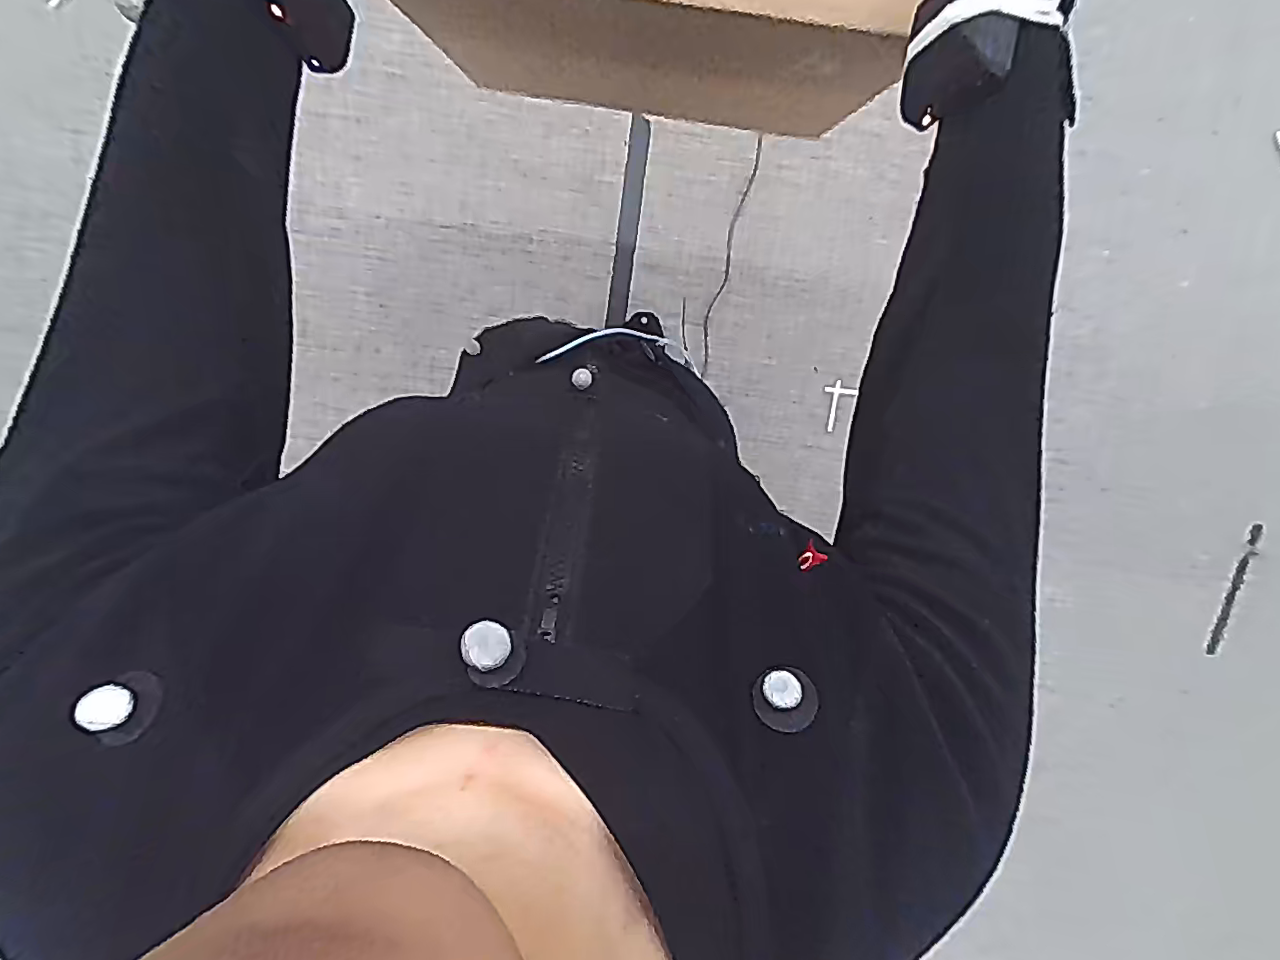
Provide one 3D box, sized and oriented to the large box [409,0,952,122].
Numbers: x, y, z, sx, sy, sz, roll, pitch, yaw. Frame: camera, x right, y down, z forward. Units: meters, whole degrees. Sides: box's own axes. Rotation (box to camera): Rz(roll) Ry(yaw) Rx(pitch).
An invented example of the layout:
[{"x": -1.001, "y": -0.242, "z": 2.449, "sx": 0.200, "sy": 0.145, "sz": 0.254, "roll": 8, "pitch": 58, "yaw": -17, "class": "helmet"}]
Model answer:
[{"x": 0.026, "y": -0.522, "z": 0.438, "sx": 0.408, "sy": 0.320, "sz": 0.320, "roll": 6, "pitch": 113, "yaw": -2, "class": "large box"}]
